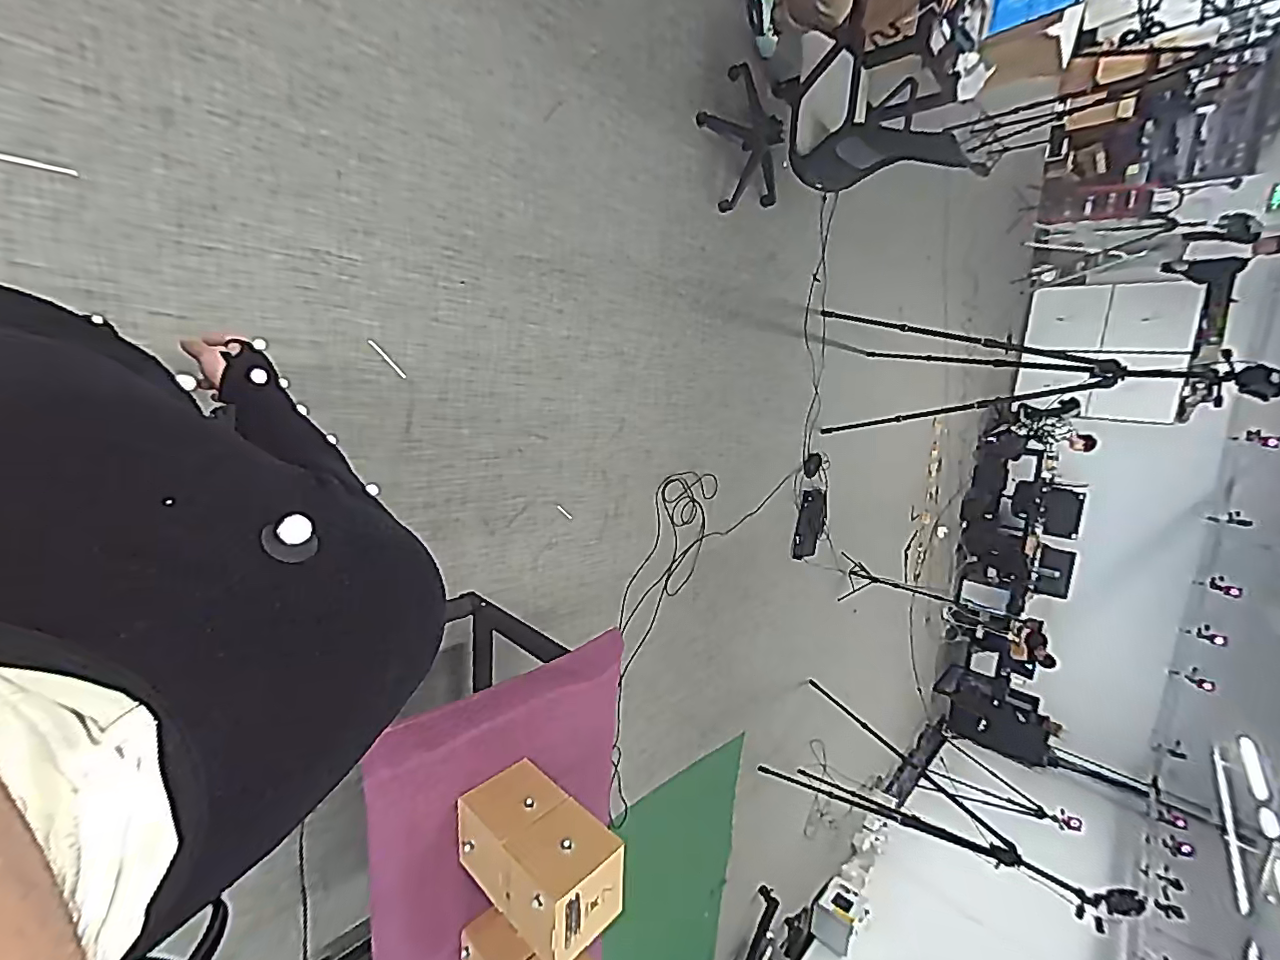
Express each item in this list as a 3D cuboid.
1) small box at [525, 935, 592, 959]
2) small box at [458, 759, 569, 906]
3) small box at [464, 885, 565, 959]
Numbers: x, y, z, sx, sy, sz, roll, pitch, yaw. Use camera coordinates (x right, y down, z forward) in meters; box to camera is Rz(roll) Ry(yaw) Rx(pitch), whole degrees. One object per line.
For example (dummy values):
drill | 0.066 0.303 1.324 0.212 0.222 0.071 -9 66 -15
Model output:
small box | -0.178 1.117 1.134 0.168 0.176 0.179 -8 106 -45
small box | -0.275 0.750 1.176 0.179 0.176 0.168 -10 107 -46
small box | -0.293 1.089 1.246 0.179 0.176 0.168 -9 106 -47
